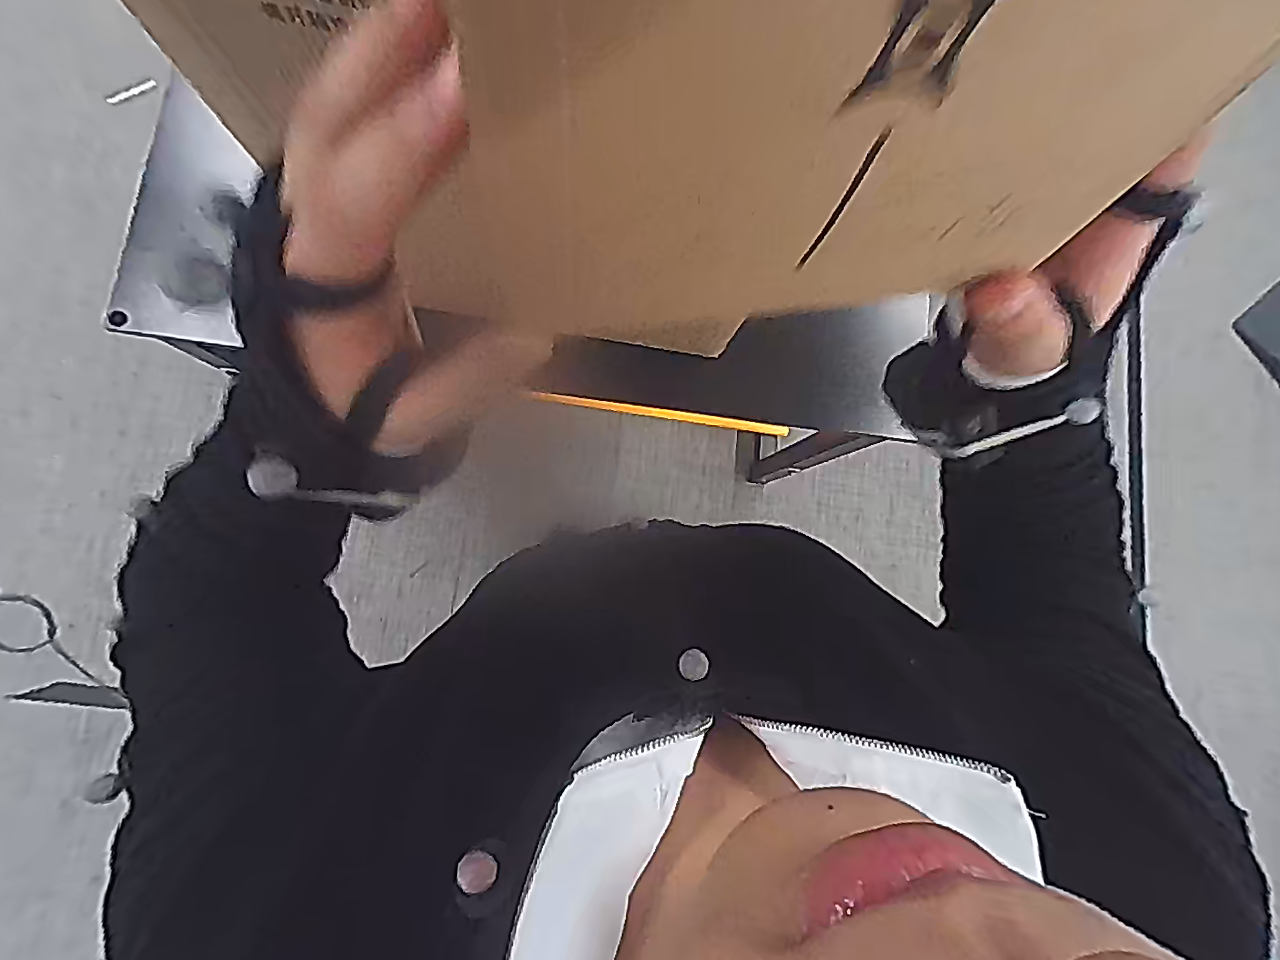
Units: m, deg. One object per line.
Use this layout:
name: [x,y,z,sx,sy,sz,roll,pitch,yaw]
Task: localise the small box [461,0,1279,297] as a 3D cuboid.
small box: [0.037,-0.167,0.103,0.168,0.179,0.176,-9,71,-8]
